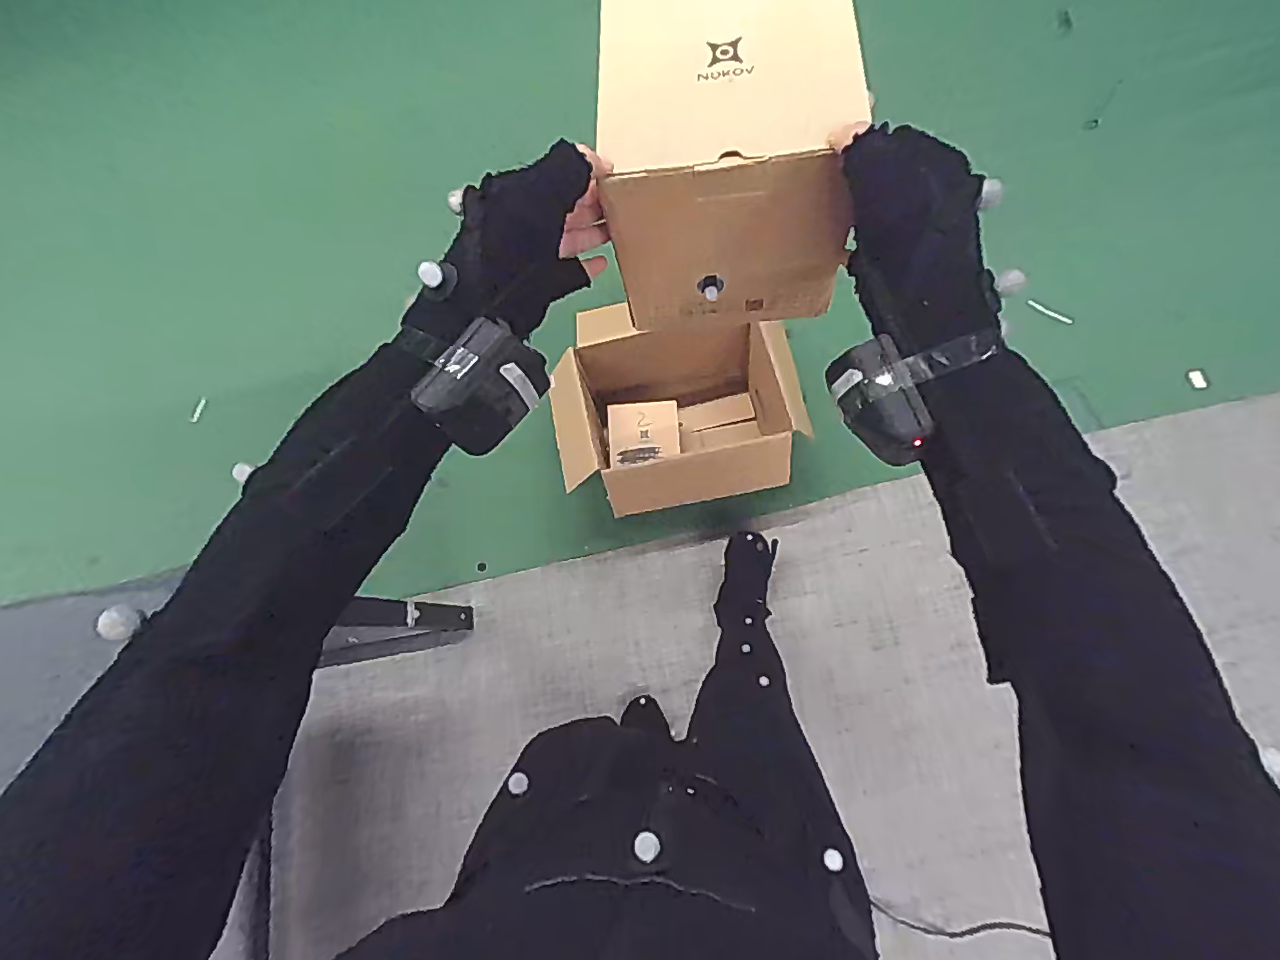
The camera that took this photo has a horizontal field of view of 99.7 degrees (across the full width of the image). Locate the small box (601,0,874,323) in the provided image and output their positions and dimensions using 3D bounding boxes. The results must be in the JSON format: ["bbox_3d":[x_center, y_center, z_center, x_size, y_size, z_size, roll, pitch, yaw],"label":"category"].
[{"bbox_3d":[0.067,-0.247,0.424,0.168,0.176,0.179,-2,73,7],"label":"small box"}]
